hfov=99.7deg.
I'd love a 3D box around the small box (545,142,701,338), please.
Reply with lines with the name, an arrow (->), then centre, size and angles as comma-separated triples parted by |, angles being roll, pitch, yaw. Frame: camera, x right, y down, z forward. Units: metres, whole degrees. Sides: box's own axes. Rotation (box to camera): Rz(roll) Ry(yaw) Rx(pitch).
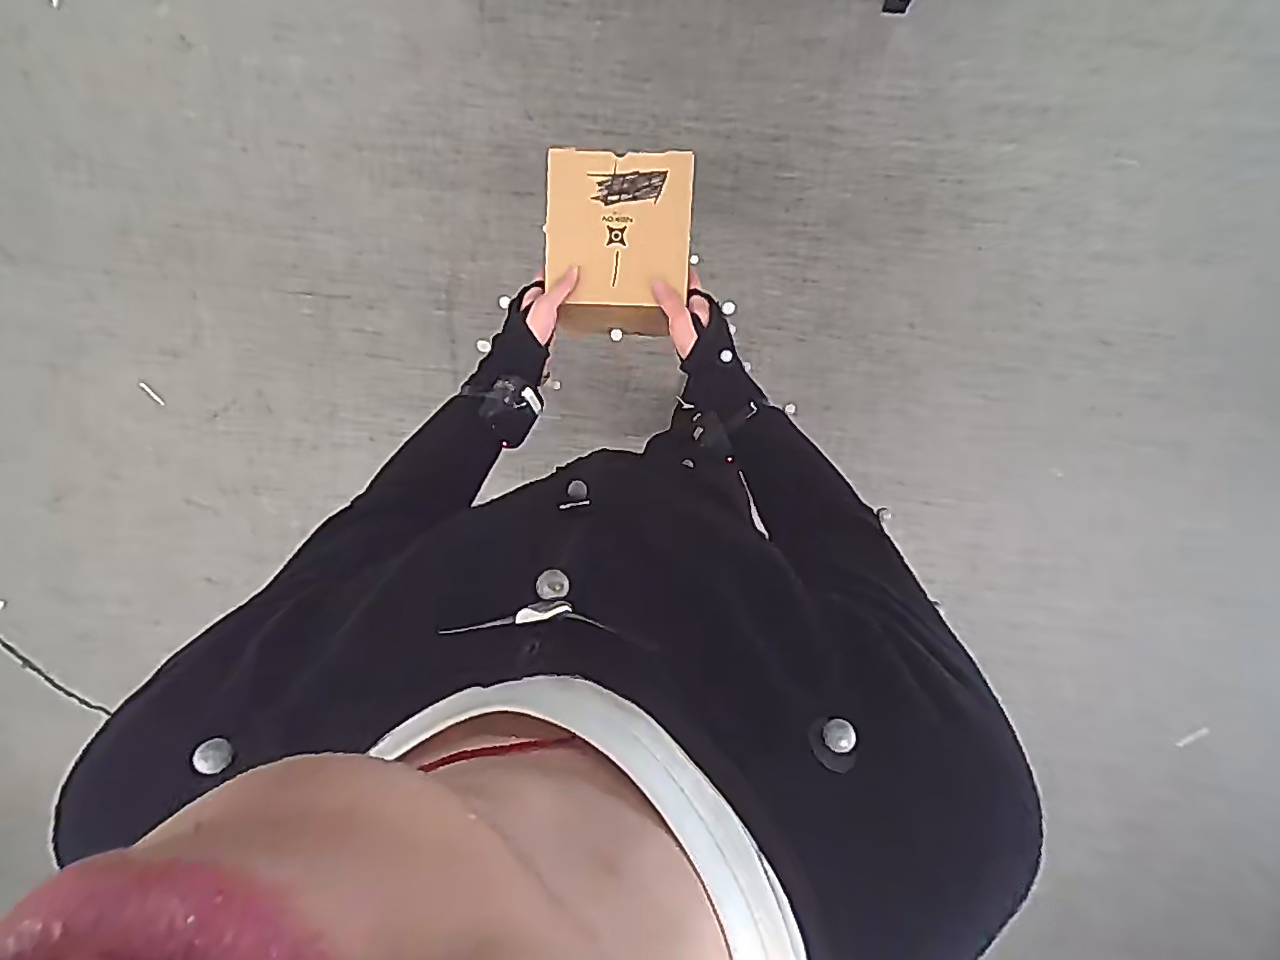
small box -> -0.019, -0.291, 0.690 | 0.168, 0.176, 0.179 | 5, 94, 2

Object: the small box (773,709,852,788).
small box -> 0.499, 0.800, 1.588 | 0.168, 0.176, 0.179 | 5, 98, -1
